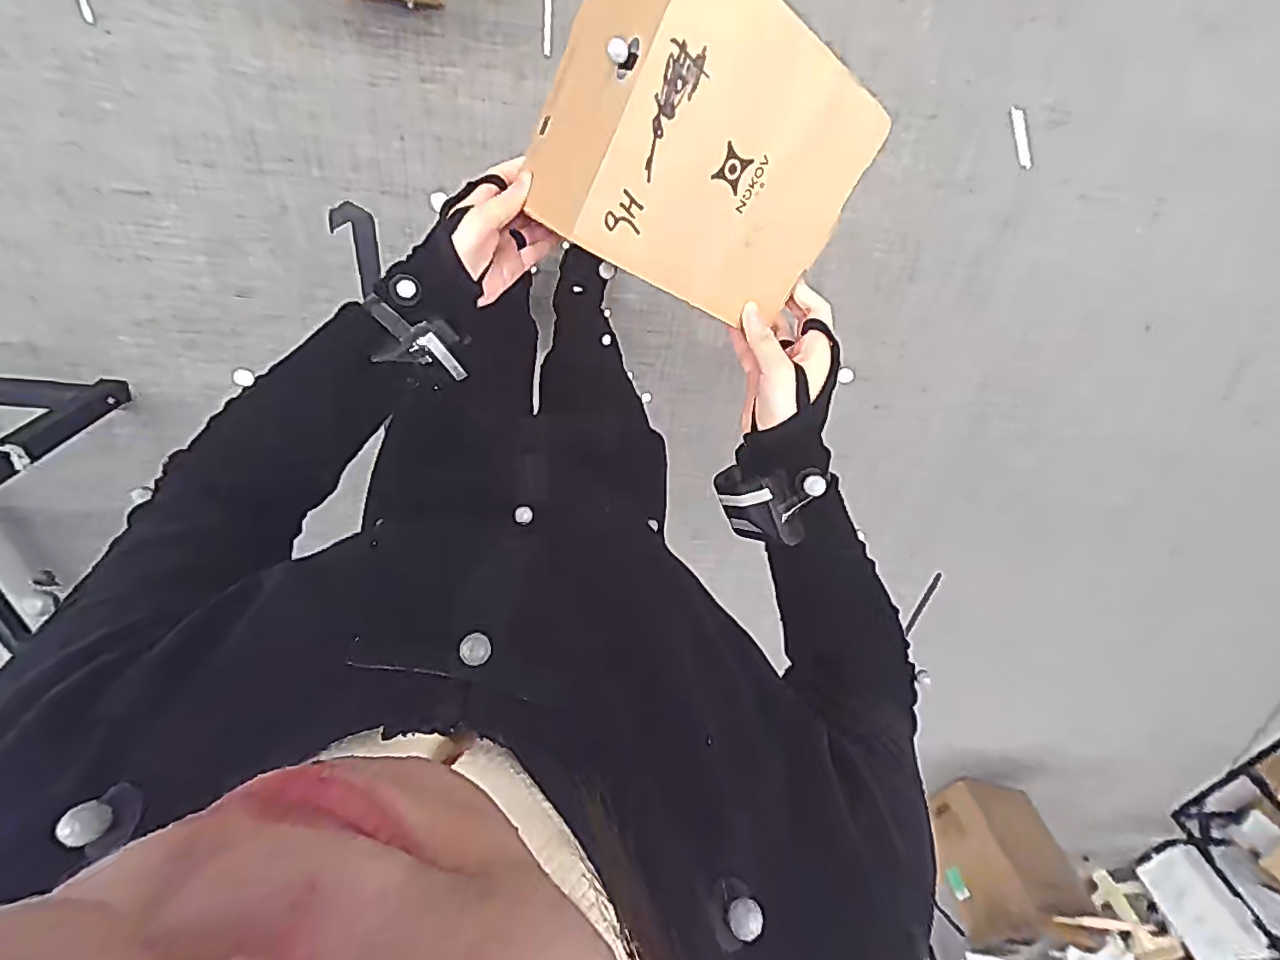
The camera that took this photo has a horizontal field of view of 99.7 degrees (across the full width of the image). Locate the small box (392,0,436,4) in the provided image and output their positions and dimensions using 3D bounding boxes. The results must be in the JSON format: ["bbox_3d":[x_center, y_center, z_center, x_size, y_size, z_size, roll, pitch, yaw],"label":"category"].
[{"bbox_3d":[-0.421,-0.874,0.850,0.179,0.176,0.168,2,125,-7],"label":"small box"}]

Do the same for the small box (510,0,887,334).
[{"bbox_3d":[0.029,-0.236,0.395,0.179,0.176,0.168,15,113,-35],"label":"small box"}]
